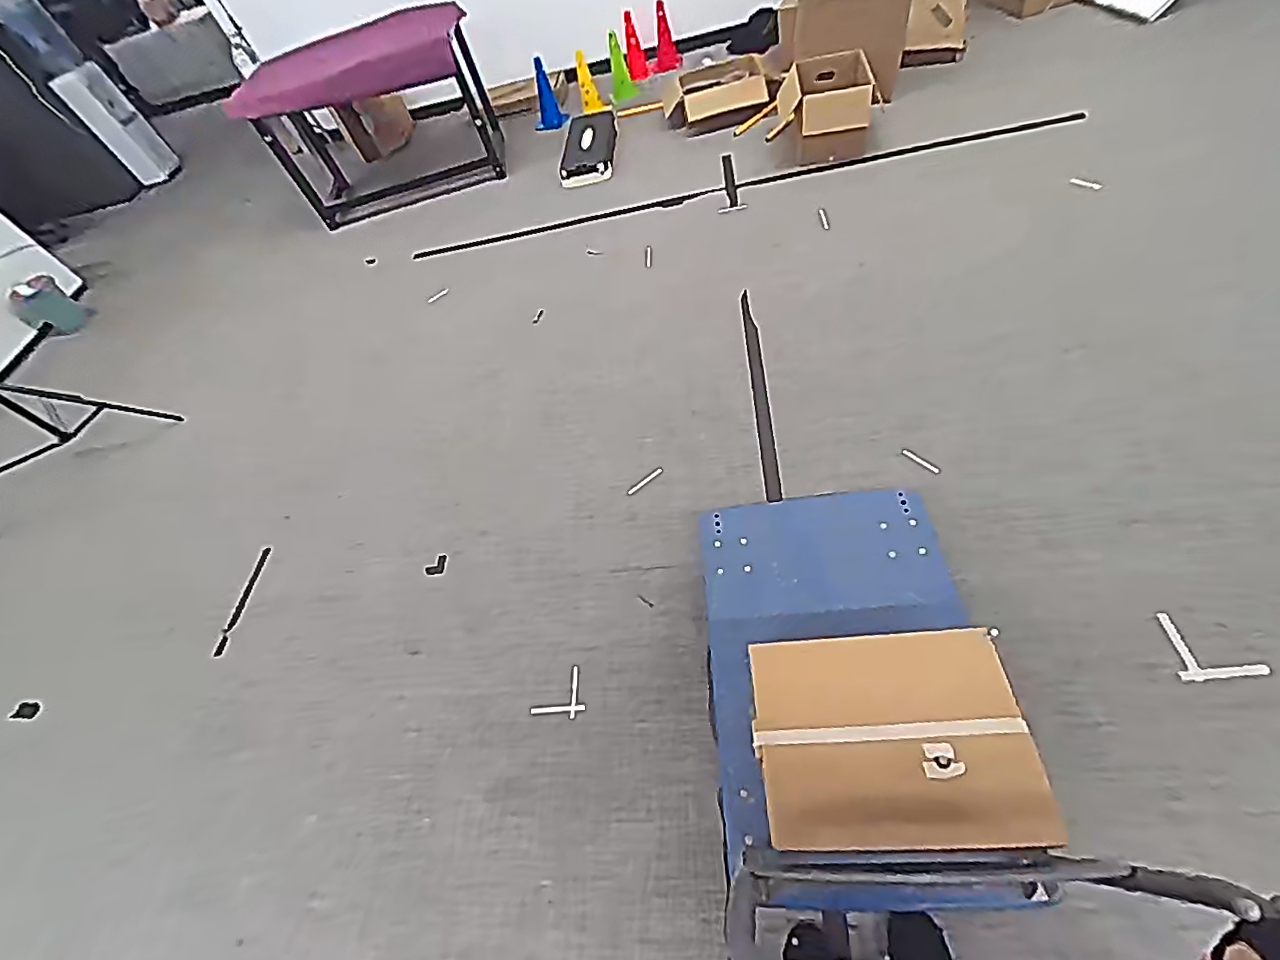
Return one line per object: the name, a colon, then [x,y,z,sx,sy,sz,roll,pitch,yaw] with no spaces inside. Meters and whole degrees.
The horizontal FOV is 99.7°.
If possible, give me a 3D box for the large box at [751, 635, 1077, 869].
large box: [0.422,0.493,0.960,0.408,0.320,0.320,-7,55,9]
